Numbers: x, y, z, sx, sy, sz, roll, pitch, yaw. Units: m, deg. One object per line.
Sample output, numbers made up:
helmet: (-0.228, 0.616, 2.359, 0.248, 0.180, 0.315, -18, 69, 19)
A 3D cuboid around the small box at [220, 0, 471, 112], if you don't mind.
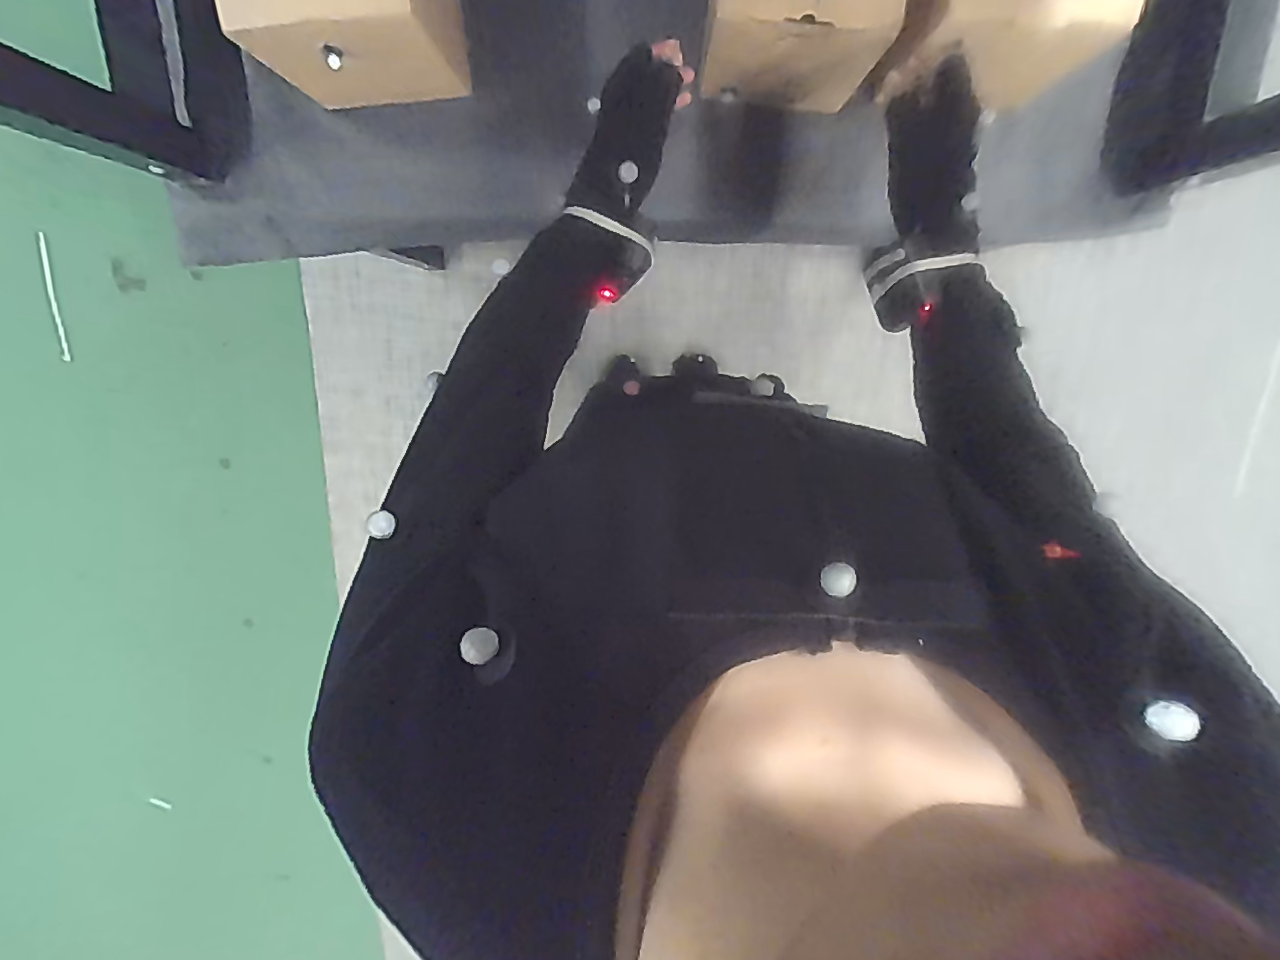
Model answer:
small box: (-0.290, -0.498, 0.546, 0.179, 0.176, 0.168, -3, 104, 1)
